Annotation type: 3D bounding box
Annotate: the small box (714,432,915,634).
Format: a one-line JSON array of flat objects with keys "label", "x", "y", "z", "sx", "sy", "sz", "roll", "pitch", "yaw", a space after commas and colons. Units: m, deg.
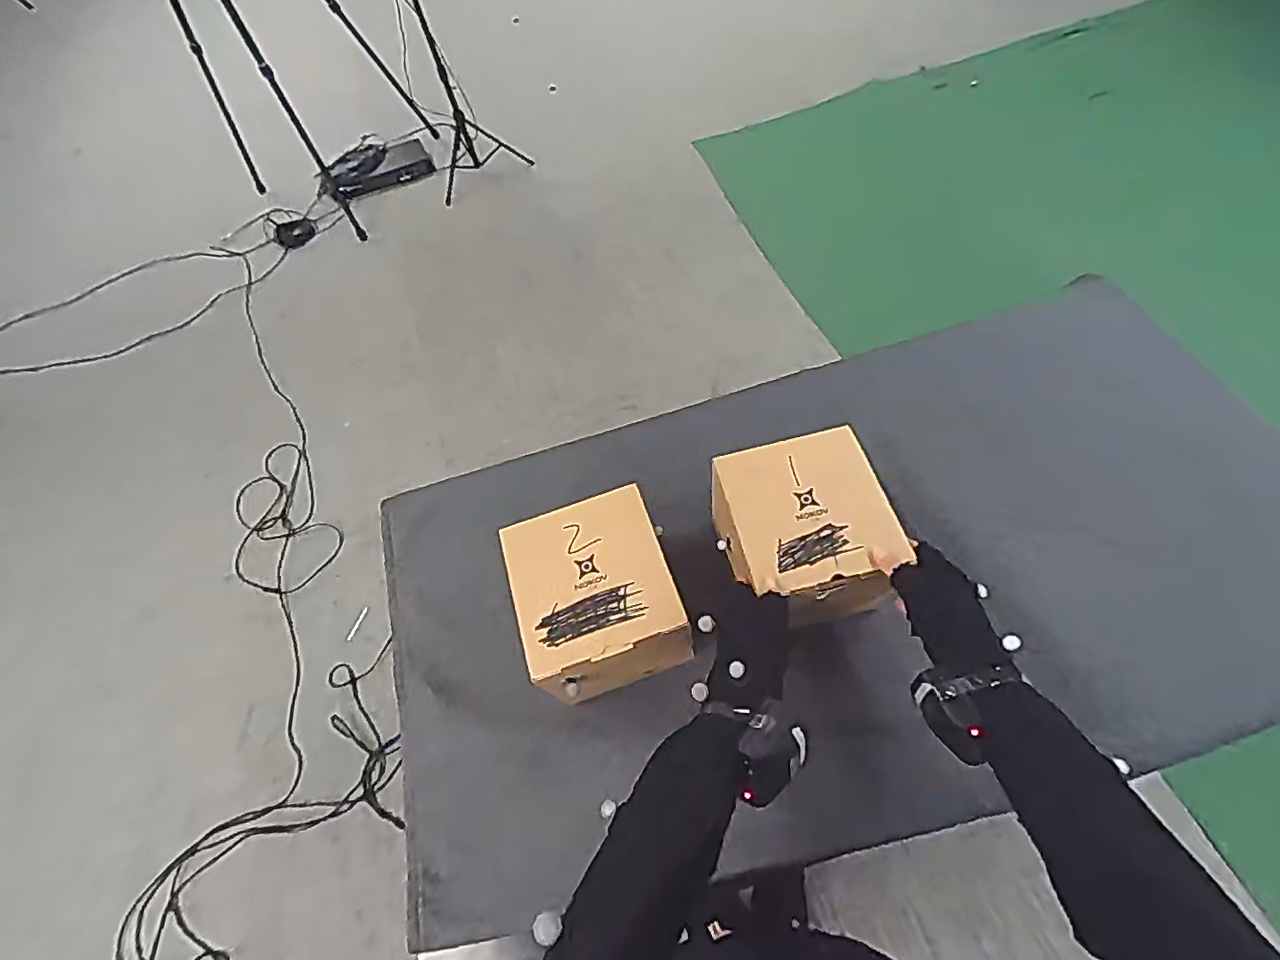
[{"label": "small box", "x": 0.192, "y": 0.074, "z": 0.650, "sx": 0.168, "sy": 0.176, "sz": 0.179, "roll": -14, "pitch": 59, "yaw": 0}]
